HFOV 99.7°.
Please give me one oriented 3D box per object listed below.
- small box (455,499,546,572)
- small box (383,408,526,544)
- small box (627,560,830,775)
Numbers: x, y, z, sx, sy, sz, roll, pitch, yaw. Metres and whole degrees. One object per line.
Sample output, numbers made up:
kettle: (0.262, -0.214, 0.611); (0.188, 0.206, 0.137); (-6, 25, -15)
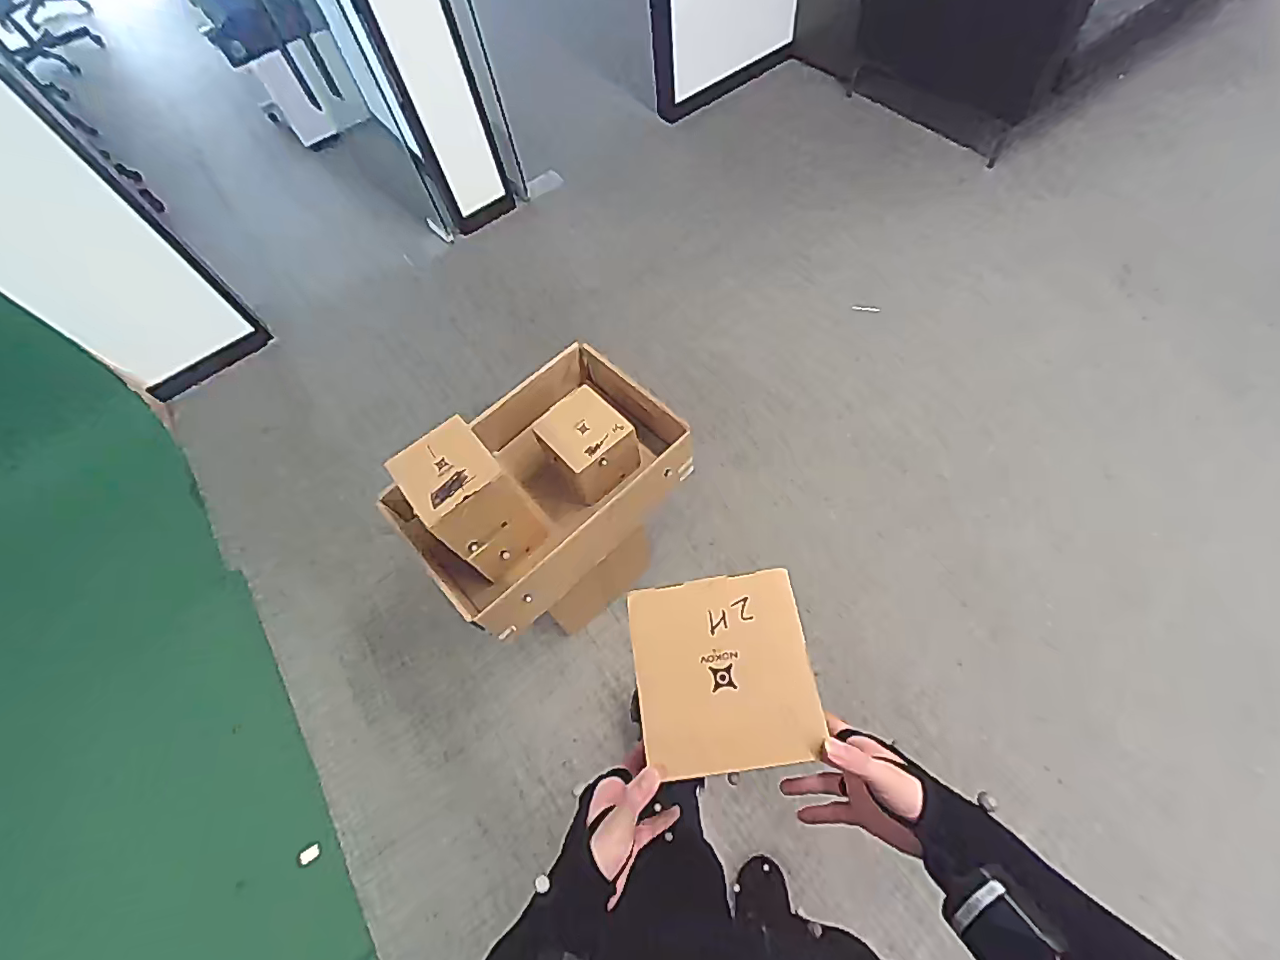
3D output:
small box: (-0.330, 0.080, 1.180); (0.168, 0.176, 0.179); (-41, 65, -14)
small box: (-0.345, 0.003, 1.036); (0.168, 0.176, 0.179); (-37, 63, -13)
small box: (0.085, 0.200, 0.573); (0.168, 0.176, 0.179); (-9, 64, 3)
